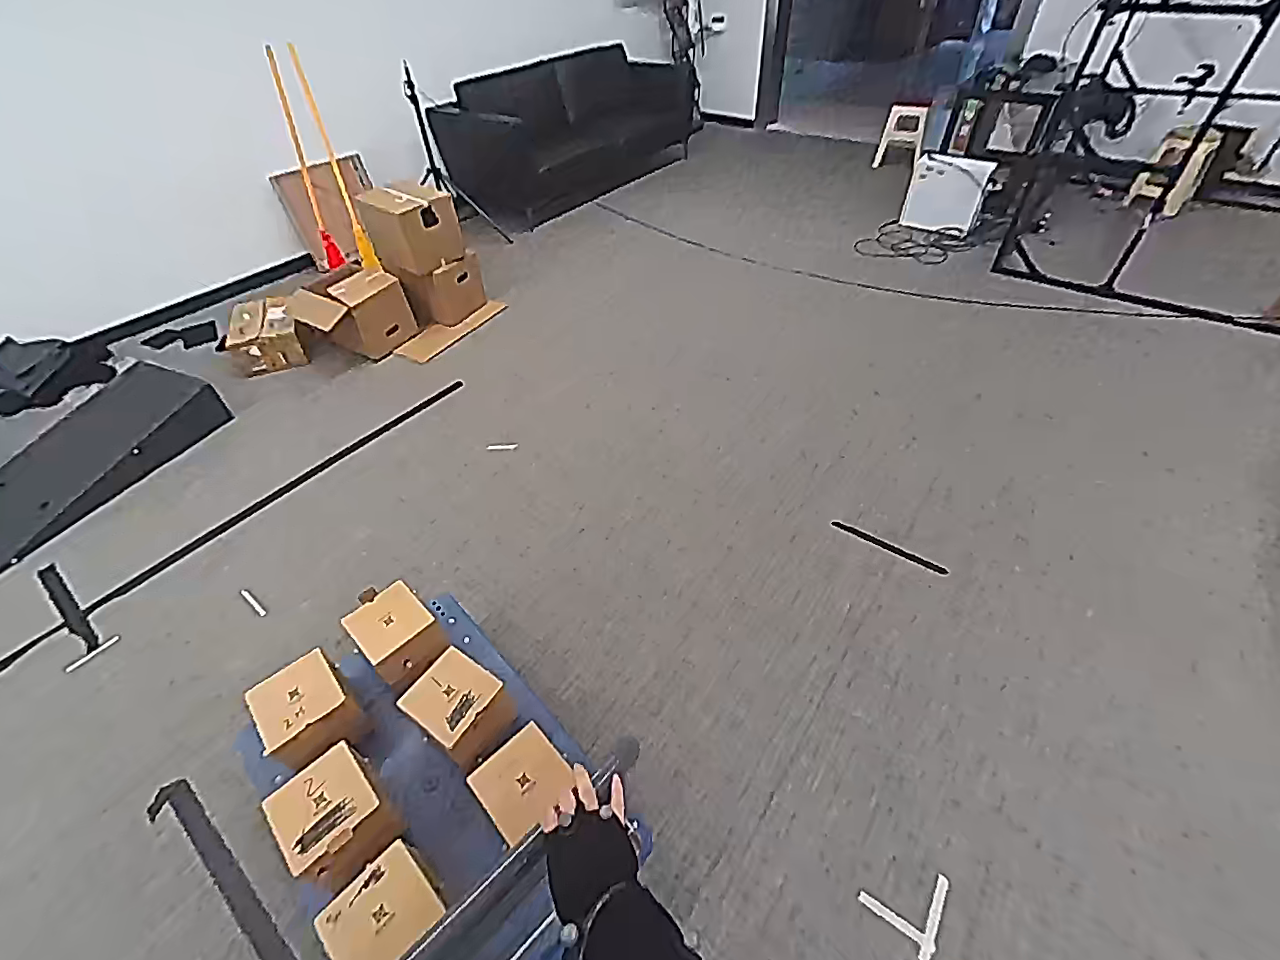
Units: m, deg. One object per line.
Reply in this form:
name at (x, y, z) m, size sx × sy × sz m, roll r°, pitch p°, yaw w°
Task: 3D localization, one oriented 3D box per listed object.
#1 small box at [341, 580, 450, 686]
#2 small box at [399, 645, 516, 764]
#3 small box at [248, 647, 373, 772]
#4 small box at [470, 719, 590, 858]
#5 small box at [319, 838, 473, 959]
small box at (-0.613, 0.396, 1.379) m, size 0.179 × 0.176 × 0.168 m, roll 33°, pitch 55°, yaw 29°
small box at (-0.411, 0.523, 1.248) m, size 0.179 × 0.176 × 0.168 m, roll 24°, pitch 51°, yaw 24°
small box at (-0.753, 0.531, 1.247) m, size 0.168 × 0.176 × 0.179 m, roll -34°, pitch 55°, yaw -28°
small box at (-0.220, 0.646, 1.125) m, size 0.168 × 0.176 × 0.179 m, roll -35°, pitch 53°, yaw -29°
small box at (-0.429, 0.798, 0.976) m, size 0.179 × 0.176 × 0.168 m, roll 32°, pitch 53°, yaw 28°
